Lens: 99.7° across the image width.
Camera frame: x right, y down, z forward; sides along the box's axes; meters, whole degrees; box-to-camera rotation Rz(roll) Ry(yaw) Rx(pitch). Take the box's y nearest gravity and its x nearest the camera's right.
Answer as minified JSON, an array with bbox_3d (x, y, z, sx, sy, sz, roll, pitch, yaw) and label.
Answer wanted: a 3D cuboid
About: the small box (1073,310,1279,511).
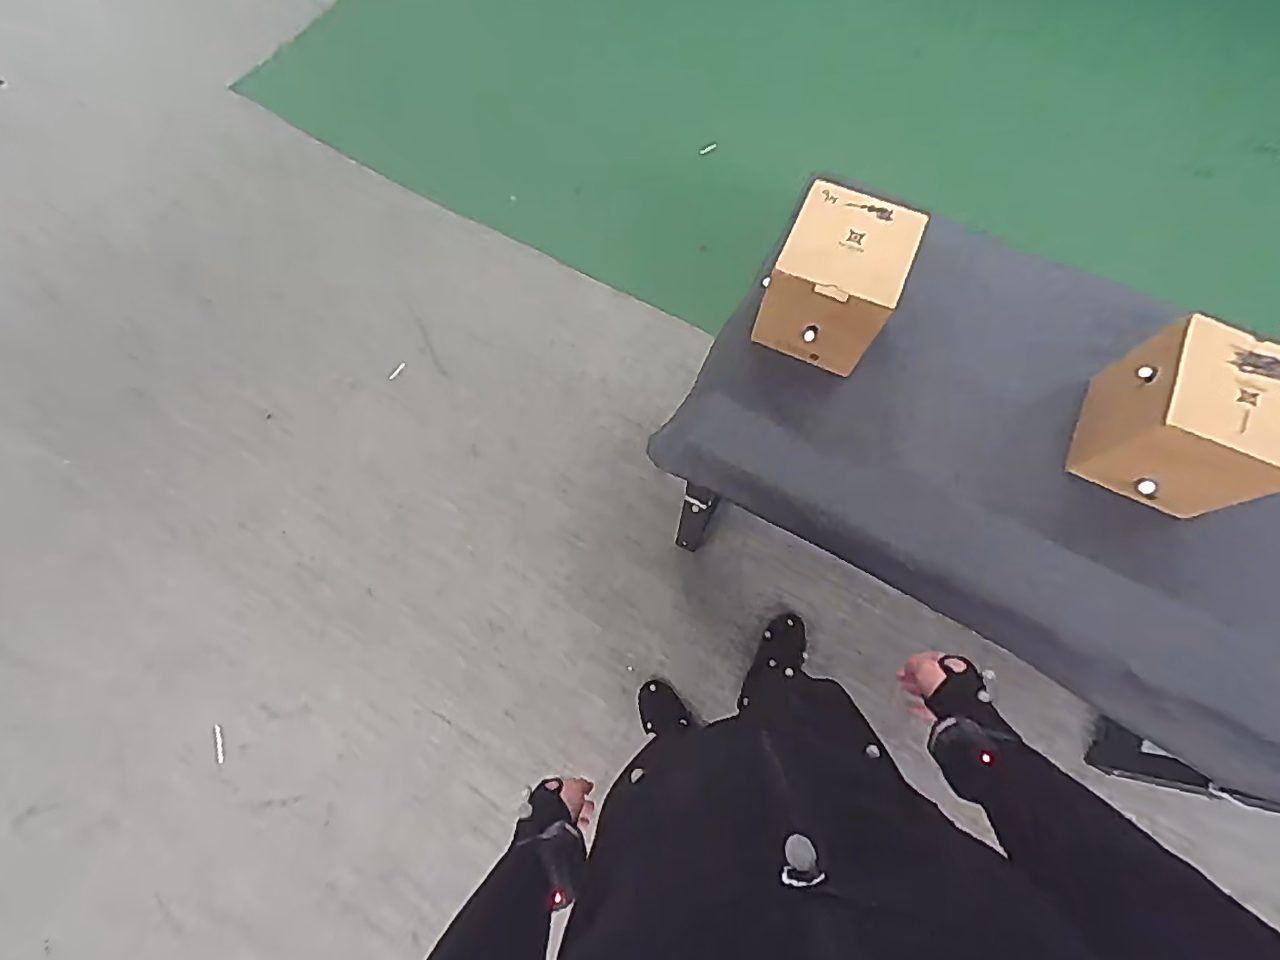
[{"bbox_3d":[0.731,-0.083,0.720,0.168,0.176,0.179,26,75,10],"label":"small box"}]

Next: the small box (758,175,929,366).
[{"bbox_3d":[0.287,-0.299,0.802,0.168,0.176,0.179,24,74,9],"label":"small box"}]
